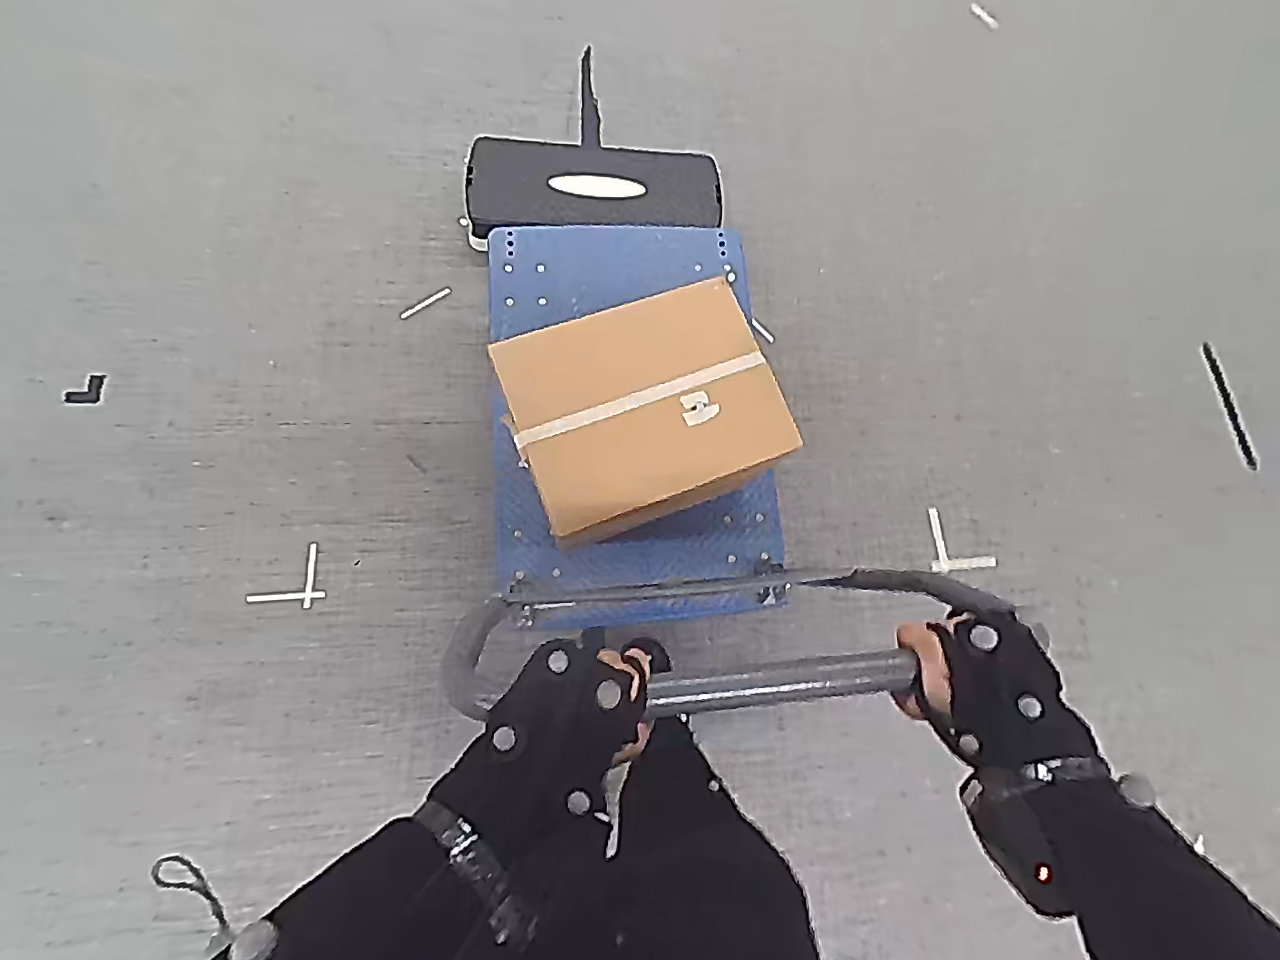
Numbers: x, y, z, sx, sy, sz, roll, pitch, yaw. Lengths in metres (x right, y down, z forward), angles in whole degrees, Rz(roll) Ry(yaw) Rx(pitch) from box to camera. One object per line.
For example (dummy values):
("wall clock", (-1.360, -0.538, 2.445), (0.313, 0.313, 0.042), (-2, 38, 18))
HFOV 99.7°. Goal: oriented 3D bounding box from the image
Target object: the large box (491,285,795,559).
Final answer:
("large box", (-0.012, -0.084, 0.976), (0.408, 0.320, 0.320), (-20, 81, -12))
